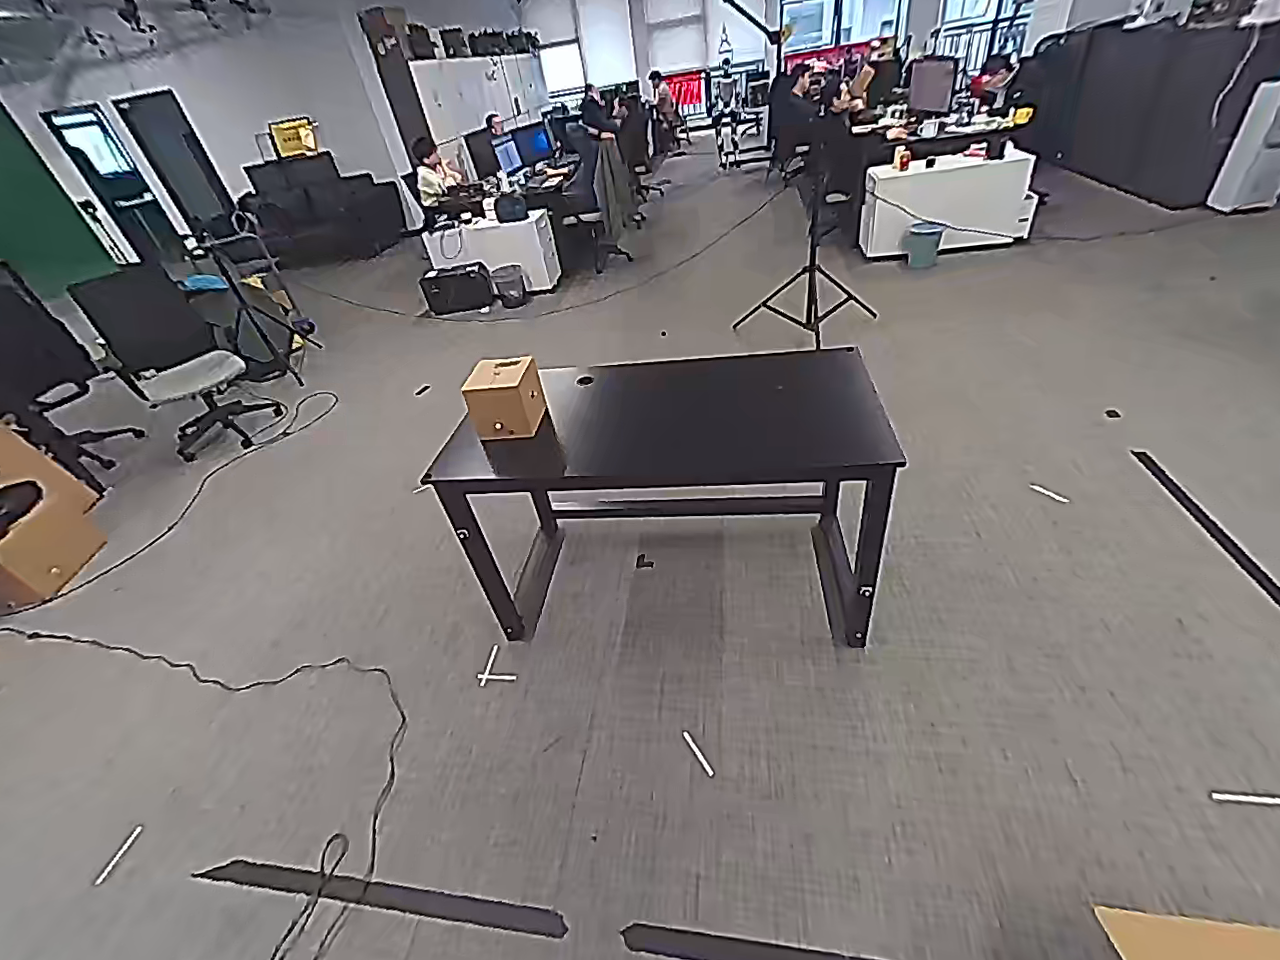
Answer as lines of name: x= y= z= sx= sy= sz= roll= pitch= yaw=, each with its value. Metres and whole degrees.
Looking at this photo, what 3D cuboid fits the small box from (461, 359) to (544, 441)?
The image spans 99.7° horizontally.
small box: x=-0.387 y=-0.230 z=1.560 sx=0.168 sy=0.176 sz=0.179 roll=-3 pitch=39 yaw=9
